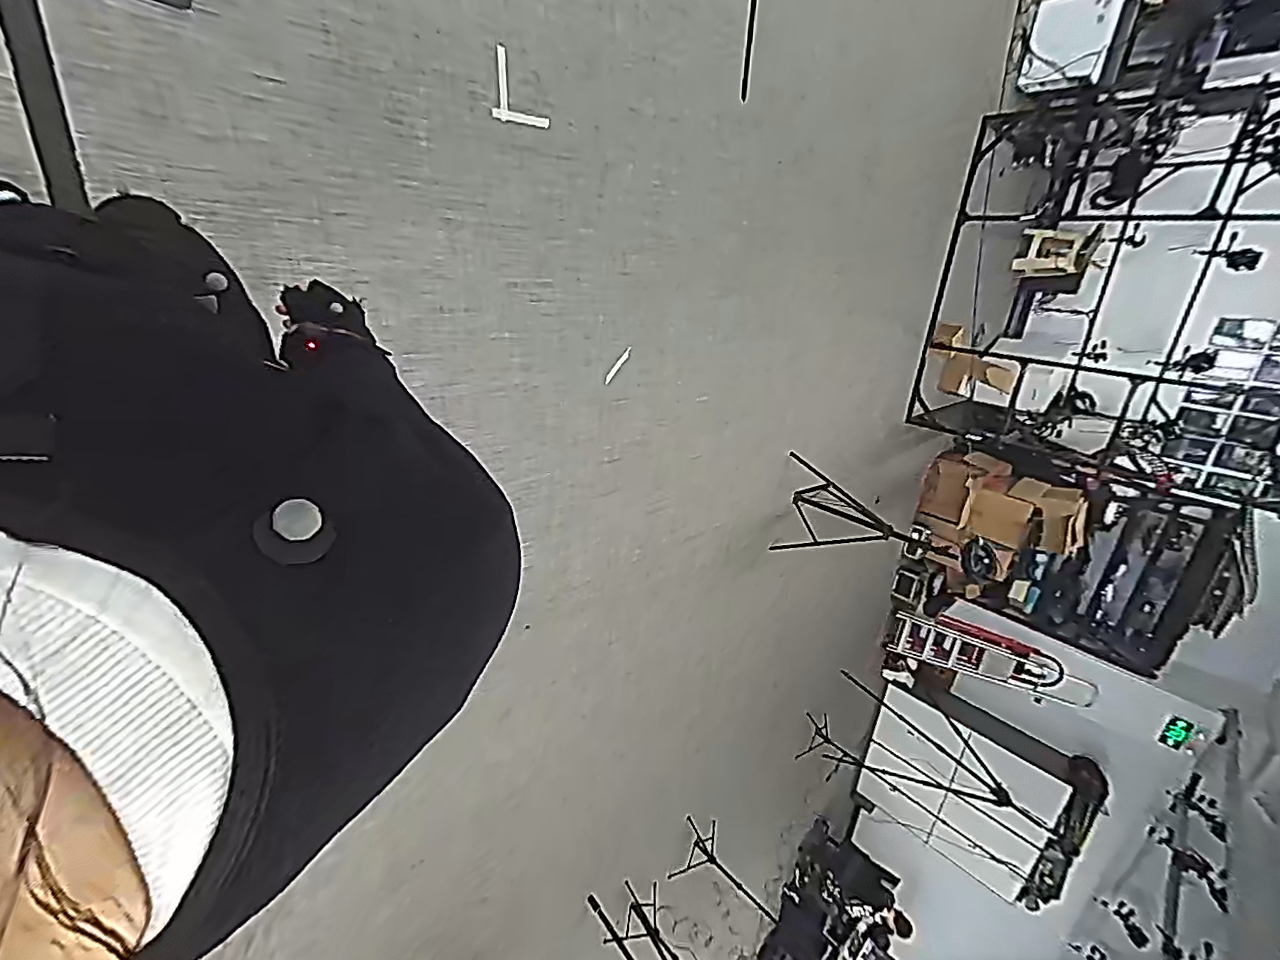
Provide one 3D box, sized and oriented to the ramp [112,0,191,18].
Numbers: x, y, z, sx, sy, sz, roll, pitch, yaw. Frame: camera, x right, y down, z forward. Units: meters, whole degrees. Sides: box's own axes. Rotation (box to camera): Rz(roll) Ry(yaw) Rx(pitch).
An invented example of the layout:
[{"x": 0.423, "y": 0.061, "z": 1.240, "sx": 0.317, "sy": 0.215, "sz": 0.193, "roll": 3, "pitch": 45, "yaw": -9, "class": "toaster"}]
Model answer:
[{"x": -0.901, "y": -1.224, "z": 0.605, "sx": 0.509, "sy": 0.206, "sz": 0.991, "roll": -17, "pitch": 120, "yaw": -42, "class": "ramp"}]
